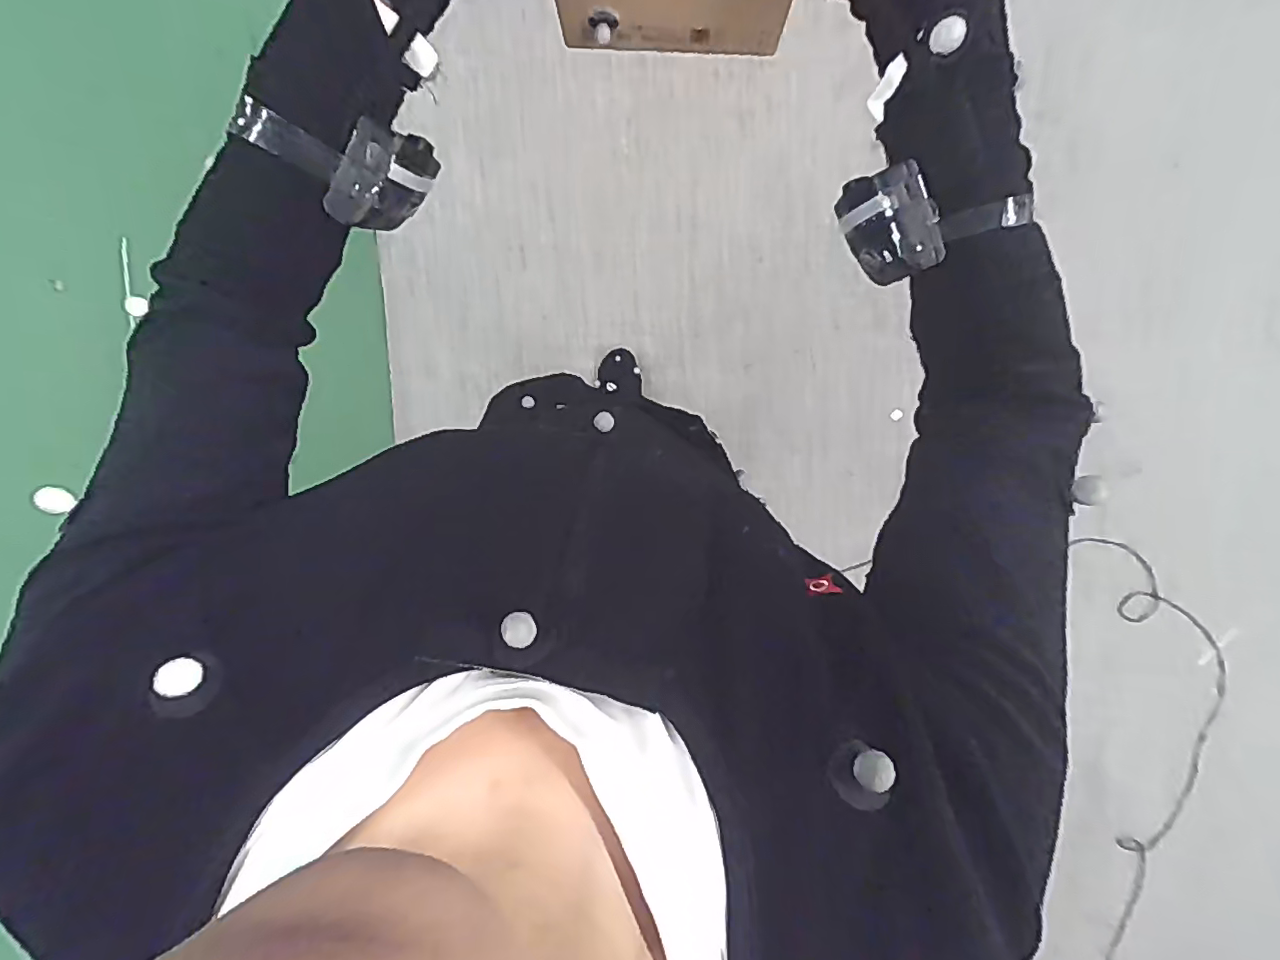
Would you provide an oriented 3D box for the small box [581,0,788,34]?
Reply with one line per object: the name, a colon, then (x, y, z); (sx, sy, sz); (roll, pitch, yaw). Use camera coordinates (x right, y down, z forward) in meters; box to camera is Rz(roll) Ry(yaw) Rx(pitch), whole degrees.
small box: (0.031, -0.423, 0.332); (0.168, 0.176, 0.179); (4, 94, 1)
